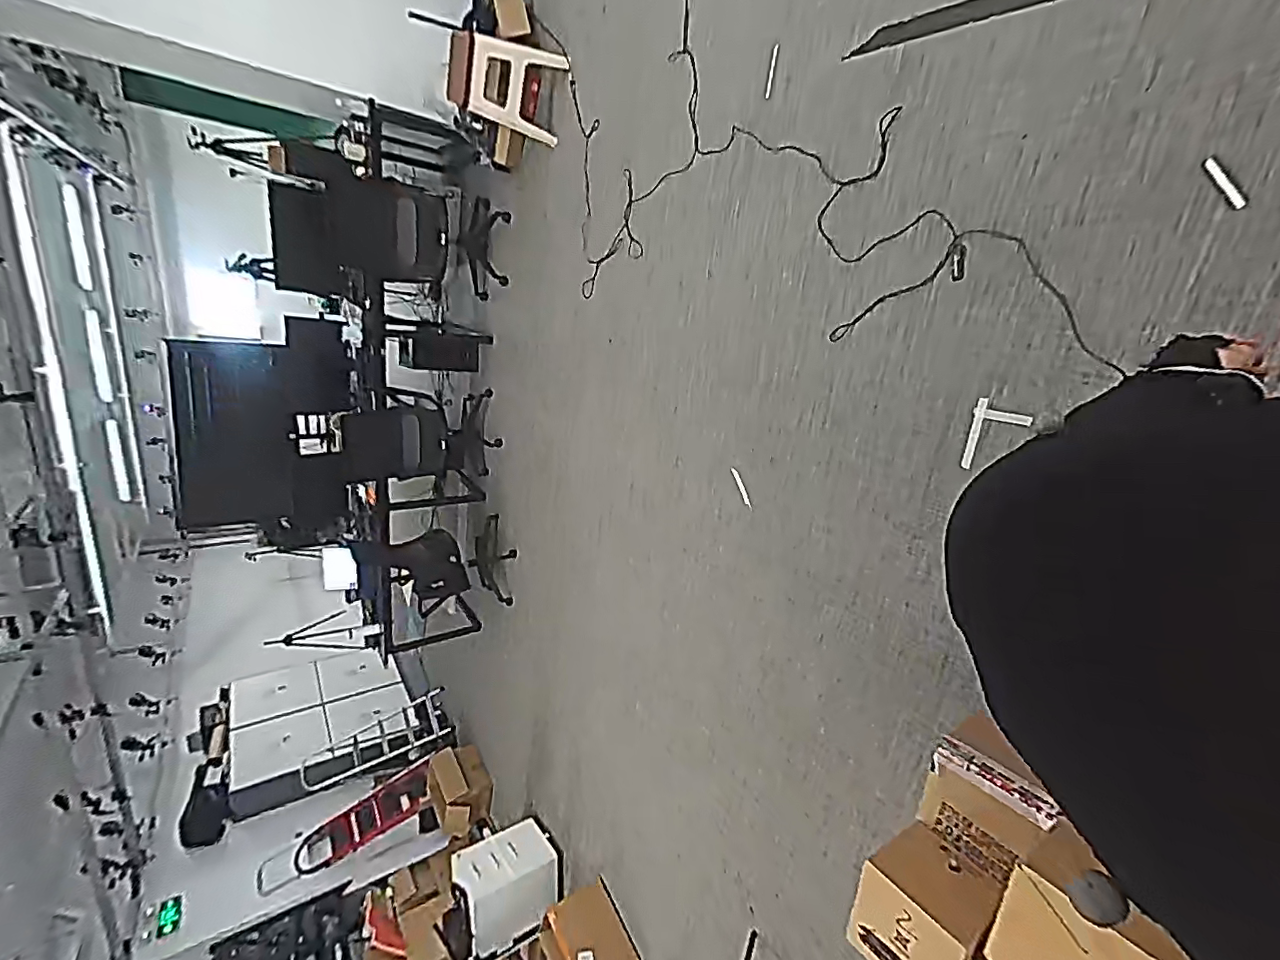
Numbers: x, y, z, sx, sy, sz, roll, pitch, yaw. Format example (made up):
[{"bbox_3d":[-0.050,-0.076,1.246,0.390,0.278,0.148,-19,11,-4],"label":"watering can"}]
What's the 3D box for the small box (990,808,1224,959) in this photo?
[{"bbox_3d":[0.611,0.596,0.718,0.179,0.176,0.168,25,112,50],"label":"small box"}]
